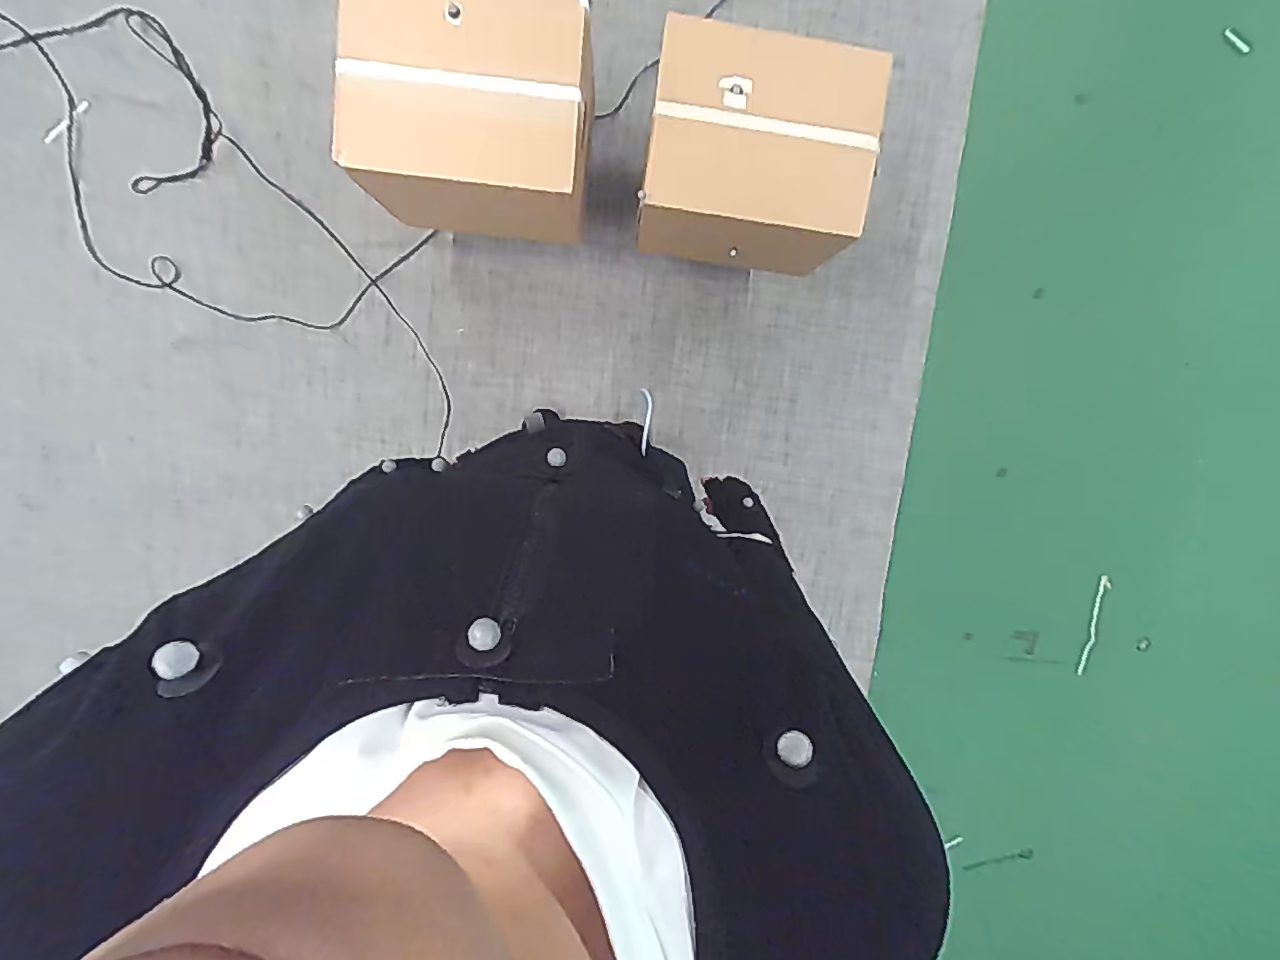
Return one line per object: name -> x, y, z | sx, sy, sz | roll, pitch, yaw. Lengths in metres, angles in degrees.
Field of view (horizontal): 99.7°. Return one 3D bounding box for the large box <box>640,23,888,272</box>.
large box -> 0.221, -0.641, 1.112 | 0.408, 0.320, 0.320 | 8, 97, -4
